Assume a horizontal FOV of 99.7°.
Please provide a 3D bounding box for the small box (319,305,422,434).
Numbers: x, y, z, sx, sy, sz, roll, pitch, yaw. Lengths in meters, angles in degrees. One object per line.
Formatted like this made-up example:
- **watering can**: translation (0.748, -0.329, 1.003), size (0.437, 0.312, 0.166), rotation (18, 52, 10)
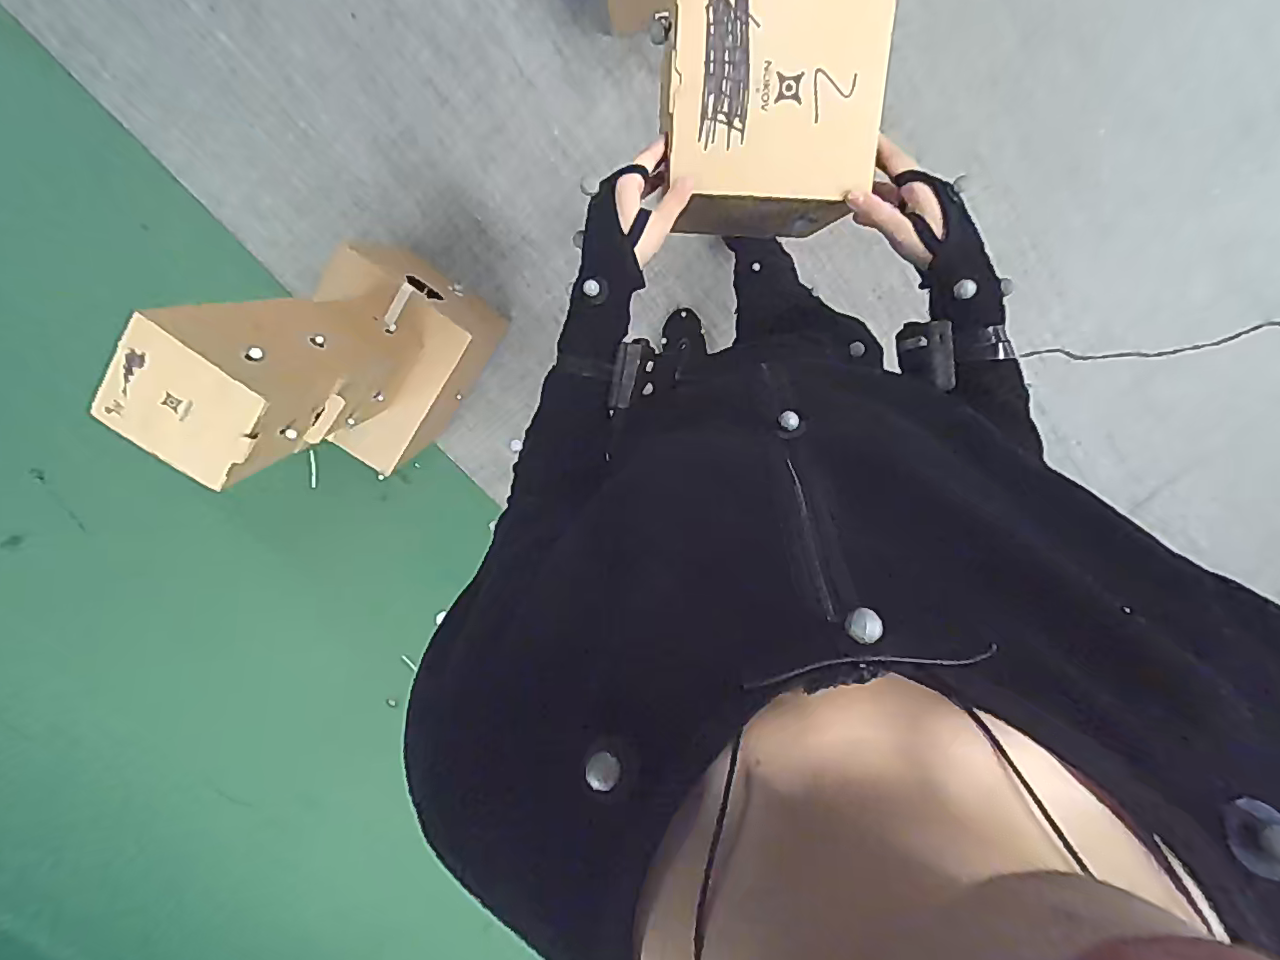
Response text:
- **small box**: translation (-0.564, -0.223, 1.069), size (0.168, 0.176, 0.179), rotation (38, 107, -12)

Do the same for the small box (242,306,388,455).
- **small box**: translation (-0.567, -0.176, 0.911), size (0.179, 0.176, 0.168), rotation (40, 107, -12)

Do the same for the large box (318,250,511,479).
- **large box**: translation (-0.571, -0.286, 1.306), size (0.320, 0.320, 0.408), rotation (35, 109, -9)

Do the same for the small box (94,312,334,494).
- **small box**: translation (-0.577, -0.118, 0.758), size (0.179, 0.176, 0.168), rotation (38, 107, -13)
